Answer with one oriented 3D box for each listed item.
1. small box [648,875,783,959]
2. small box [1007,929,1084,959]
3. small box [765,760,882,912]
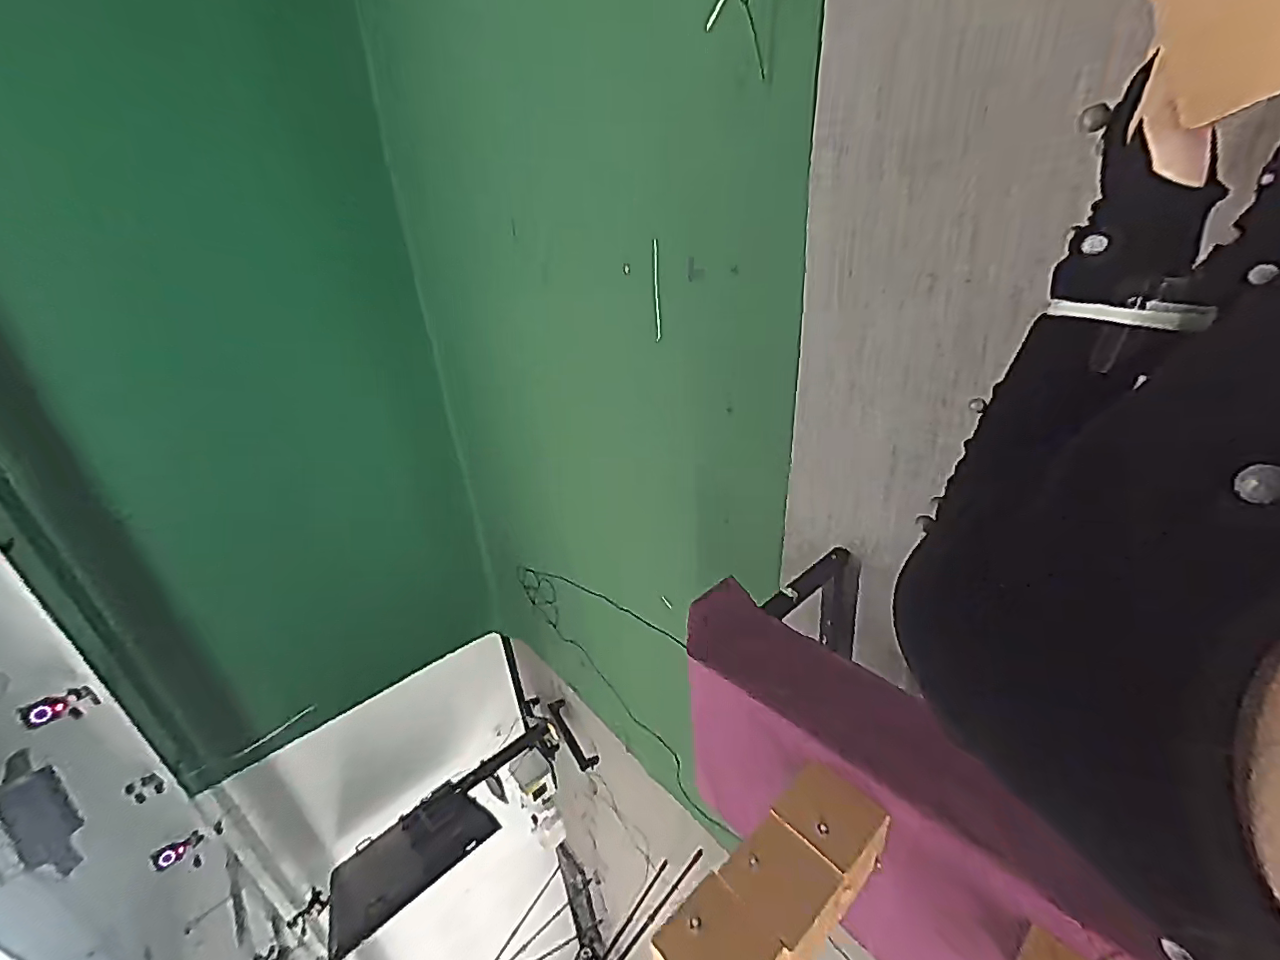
[{"bbox_3d":[0.137,0.873,0.985,0.179,0.176,0.168,23,128,45],"label":"small box"},{"bbox_3d":[0.668,0.873,0.859,0.179,0.176,0.168,22,128,45],"label":"small box"},{"bbox_3d":[0.390,0.746,1.152,0.179,0.176,0.168,25,129,44],"label":"small box"}]
